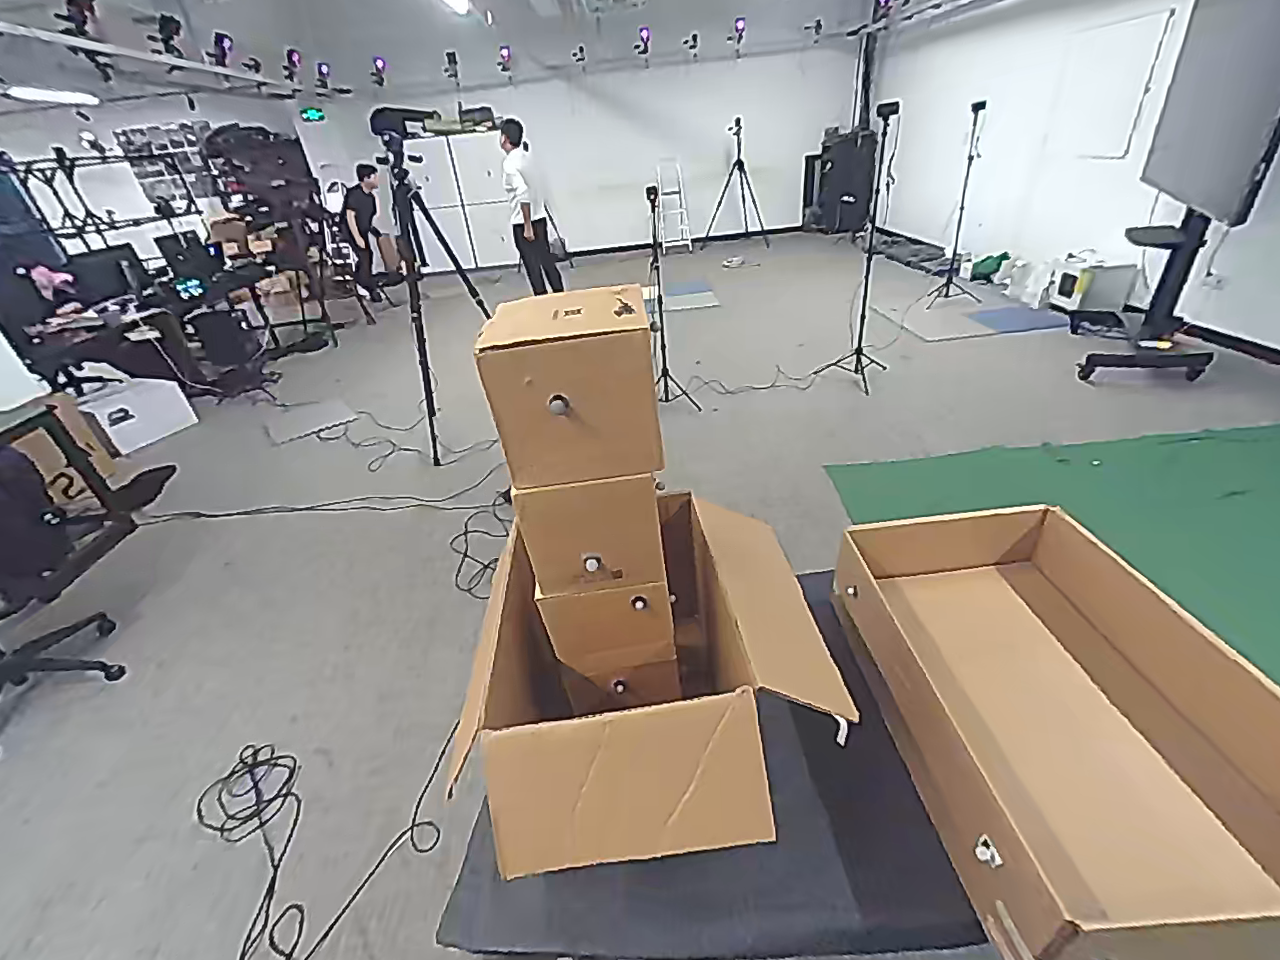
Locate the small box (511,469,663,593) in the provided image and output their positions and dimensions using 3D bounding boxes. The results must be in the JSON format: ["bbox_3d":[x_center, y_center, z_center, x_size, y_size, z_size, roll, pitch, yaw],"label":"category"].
[{"bbox_3d":[-0.062,0.026,0.725,0.168,0.176,0.179,-7,35,1],"label":"small box"}]

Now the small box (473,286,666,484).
[{"bbox_3d":[-0.070,-0.109,0.632,0.179,0.176,0.168,-8,35,1],"label":"small box"}]
